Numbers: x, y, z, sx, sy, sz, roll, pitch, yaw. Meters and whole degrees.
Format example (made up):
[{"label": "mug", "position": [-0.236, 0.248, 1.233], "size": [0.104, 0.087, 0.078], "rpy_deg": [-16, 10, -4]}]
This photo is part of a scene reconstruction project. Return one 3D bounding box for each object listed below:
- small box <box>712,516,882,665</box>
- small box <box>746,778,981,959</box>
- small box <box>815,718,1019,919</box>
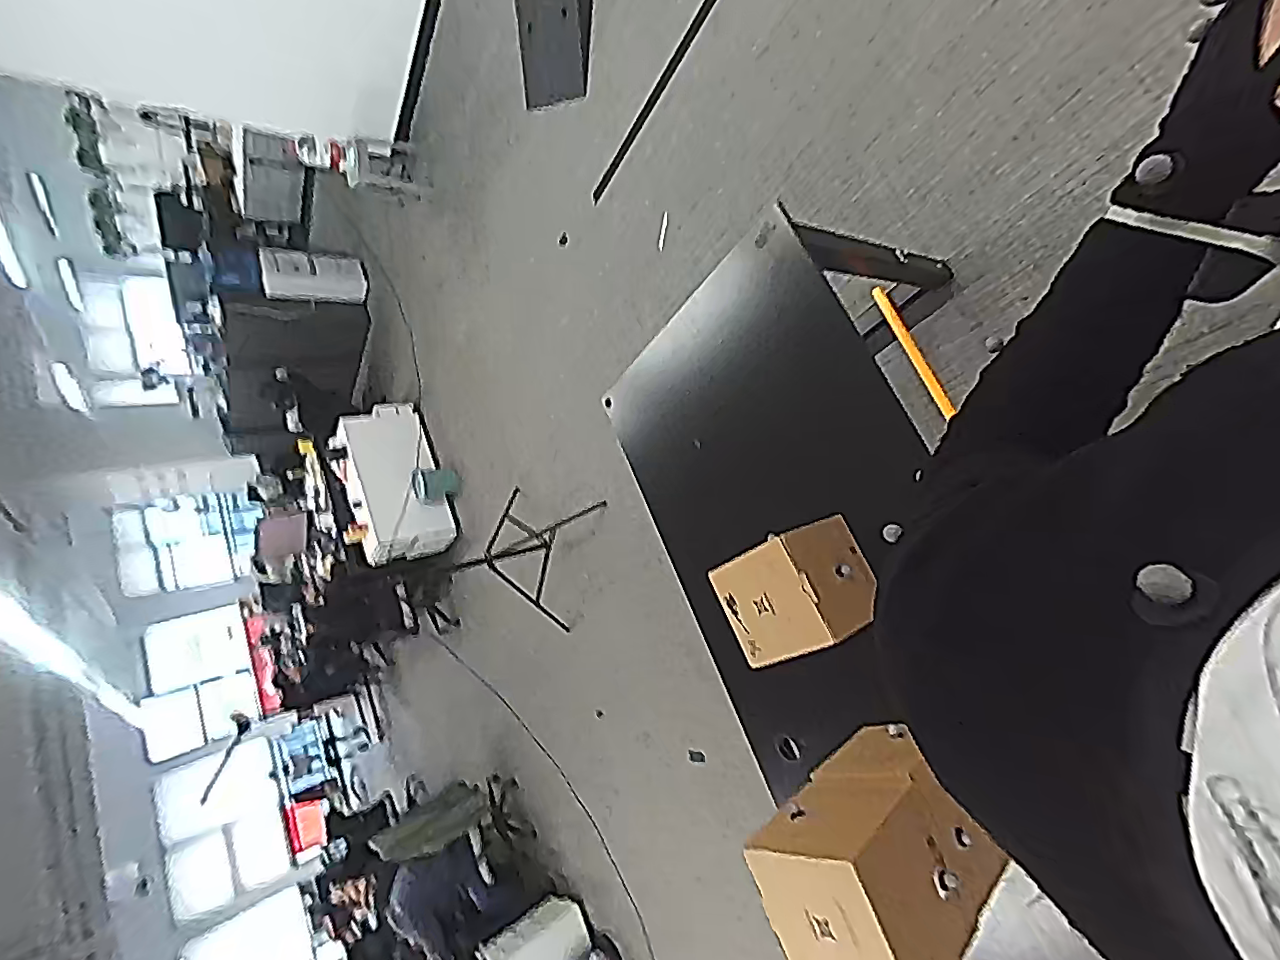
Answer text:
[{"label": "small box", "position": [0.256, 0.173, 0.867], "size": [0.179, 0.176, 0.168], "rpy_deg": [-41, 67, 47]}, {"label": "small box", "position": [0.272, 0.490, 0.665], "size": [0.179, 0.176, 0.168], "rpy_deg": [-39, 70, 46]}, {"label": "small box", "position": [0.393, 0.464, 0.769], "size": [0.168, 0.176, 0.179], "rpy_deg": [-38, 69, 47]}]
